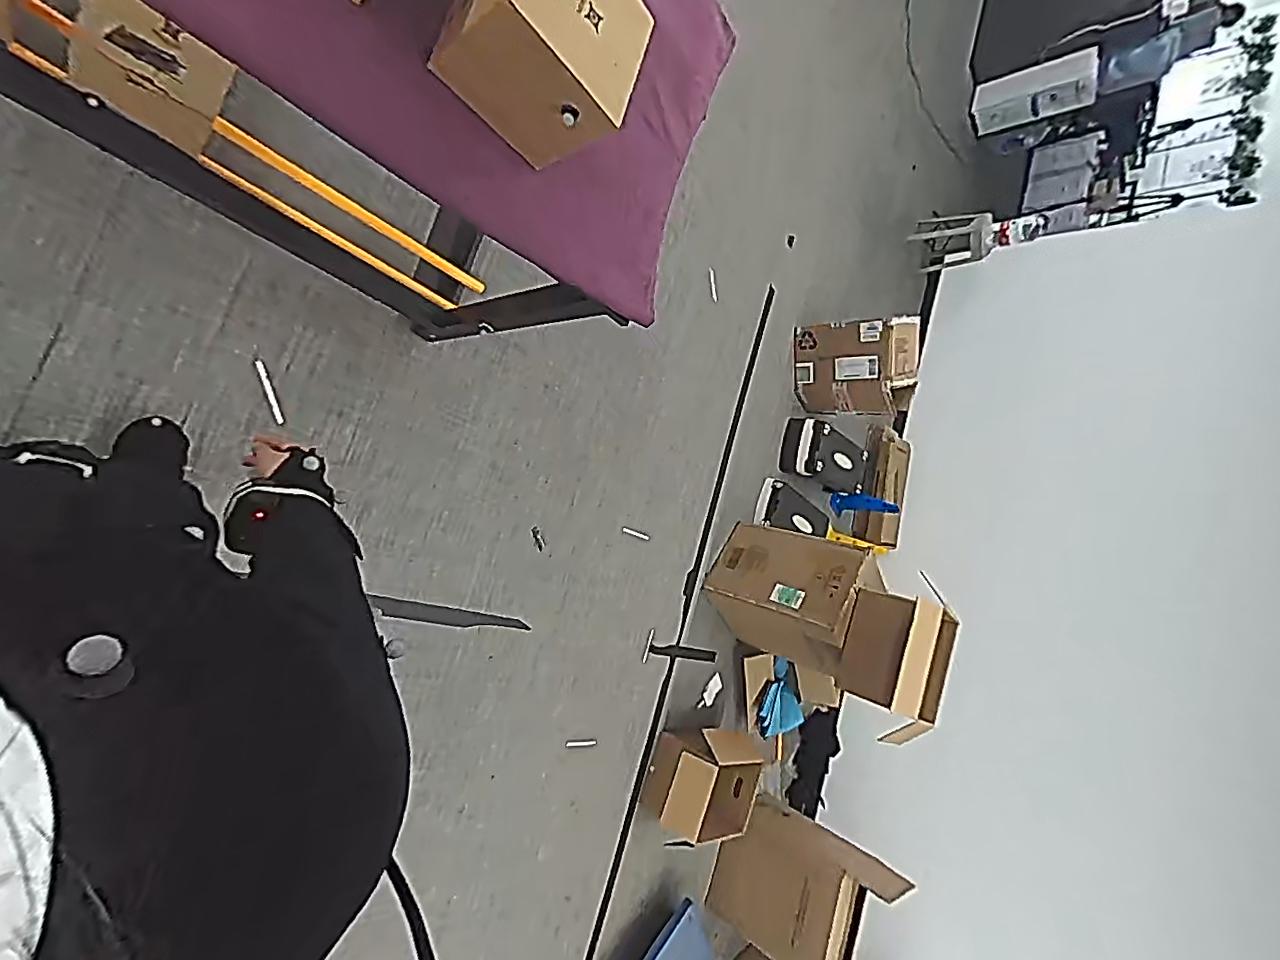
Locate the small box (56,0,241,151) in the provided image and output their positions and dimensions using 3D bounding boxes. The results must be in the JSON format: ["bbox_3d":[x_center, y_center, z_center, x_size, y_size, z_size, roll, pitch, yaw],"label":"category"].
[{"bbox_3d":[-0.772,-0.669,0.852,0.168,0.176,0.179,24,72,-47],"label":"small box"}]
